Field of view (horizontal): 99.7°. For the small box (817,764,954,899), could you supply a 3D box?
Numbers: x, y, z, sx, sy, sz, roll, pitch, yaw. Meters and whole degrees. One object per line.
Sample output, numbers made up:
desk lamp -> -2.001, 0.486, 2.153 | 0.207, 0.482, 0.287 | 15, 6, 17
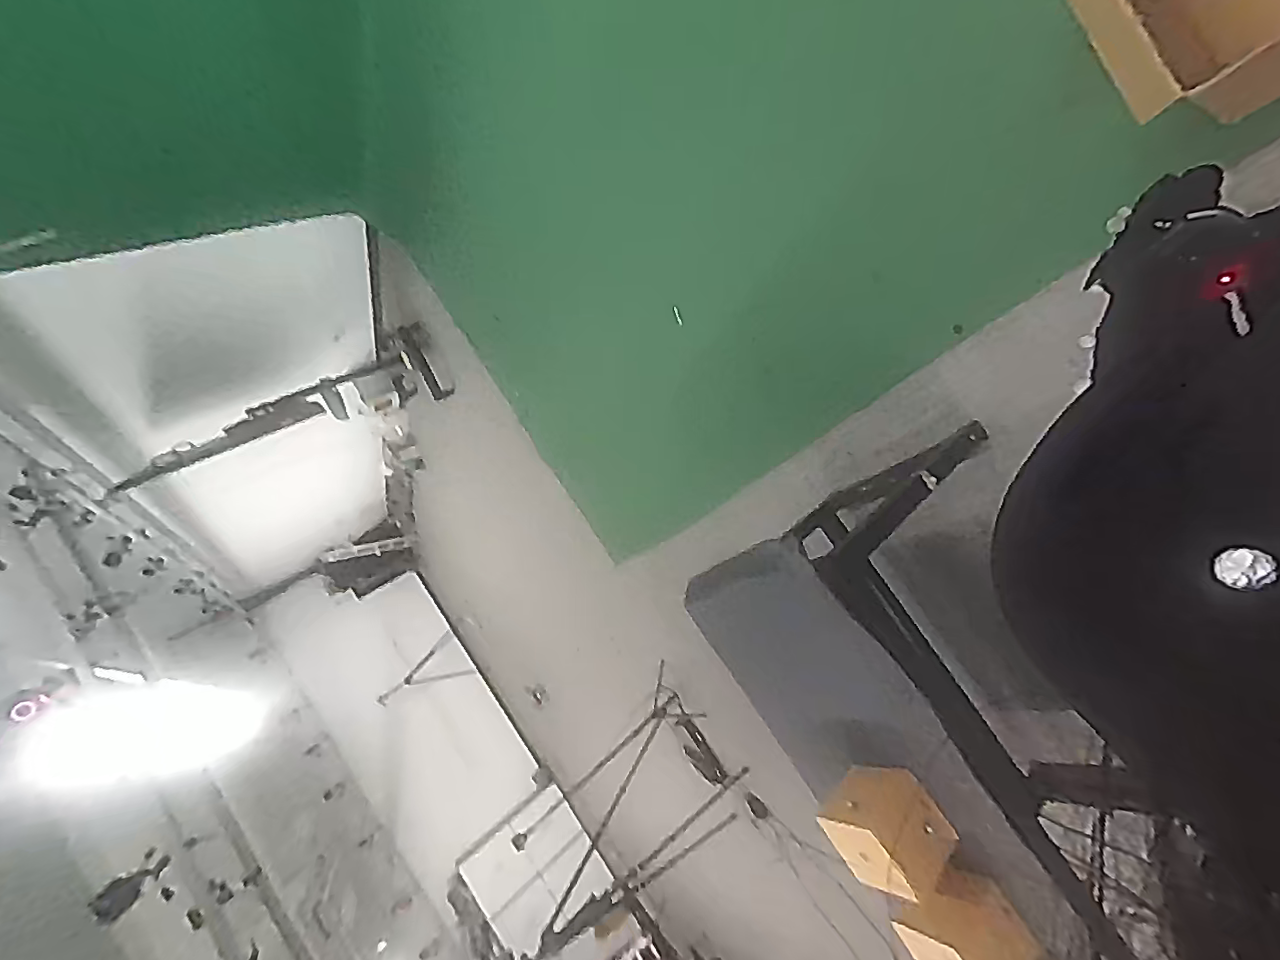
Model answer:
small box -> 0.532, 0.747, 1.174 | 0.168, 0.176, 0.179 | 55, 148, 7
